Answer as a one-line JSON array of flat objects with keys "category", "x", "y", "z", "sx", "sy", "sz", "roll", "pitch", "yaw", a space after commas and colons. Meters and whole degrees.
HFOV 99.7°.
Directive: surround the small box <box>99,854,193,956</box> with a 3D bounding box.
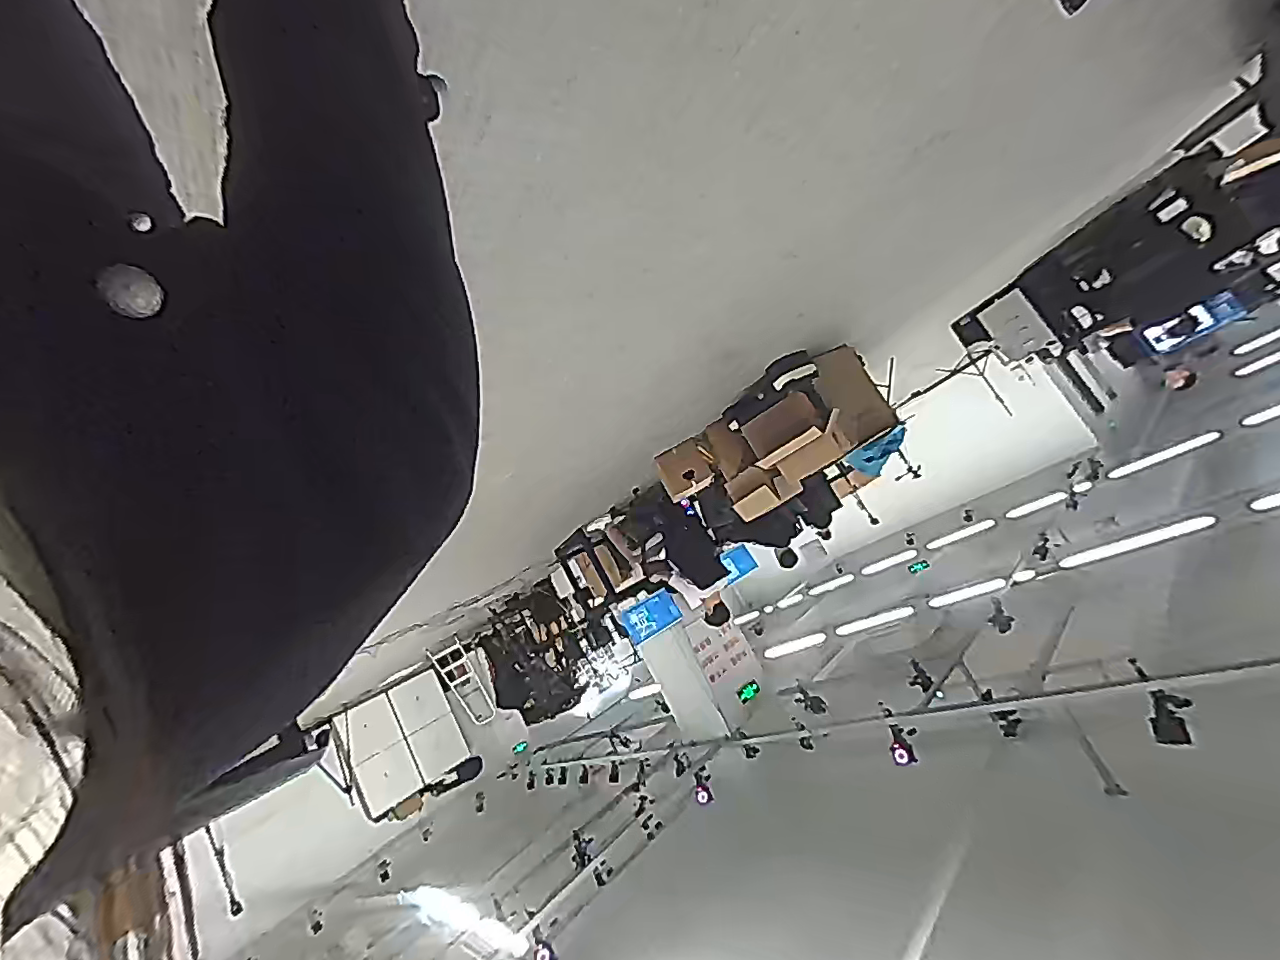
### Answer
[{"category": "small box", "x": -1.487, "y": 1.269, "z": 1.628, "sx": 0.179, "sy": 0.176, "sz": 0.168, "roll": -20, "pitch": 166, "yaw": -42}]
